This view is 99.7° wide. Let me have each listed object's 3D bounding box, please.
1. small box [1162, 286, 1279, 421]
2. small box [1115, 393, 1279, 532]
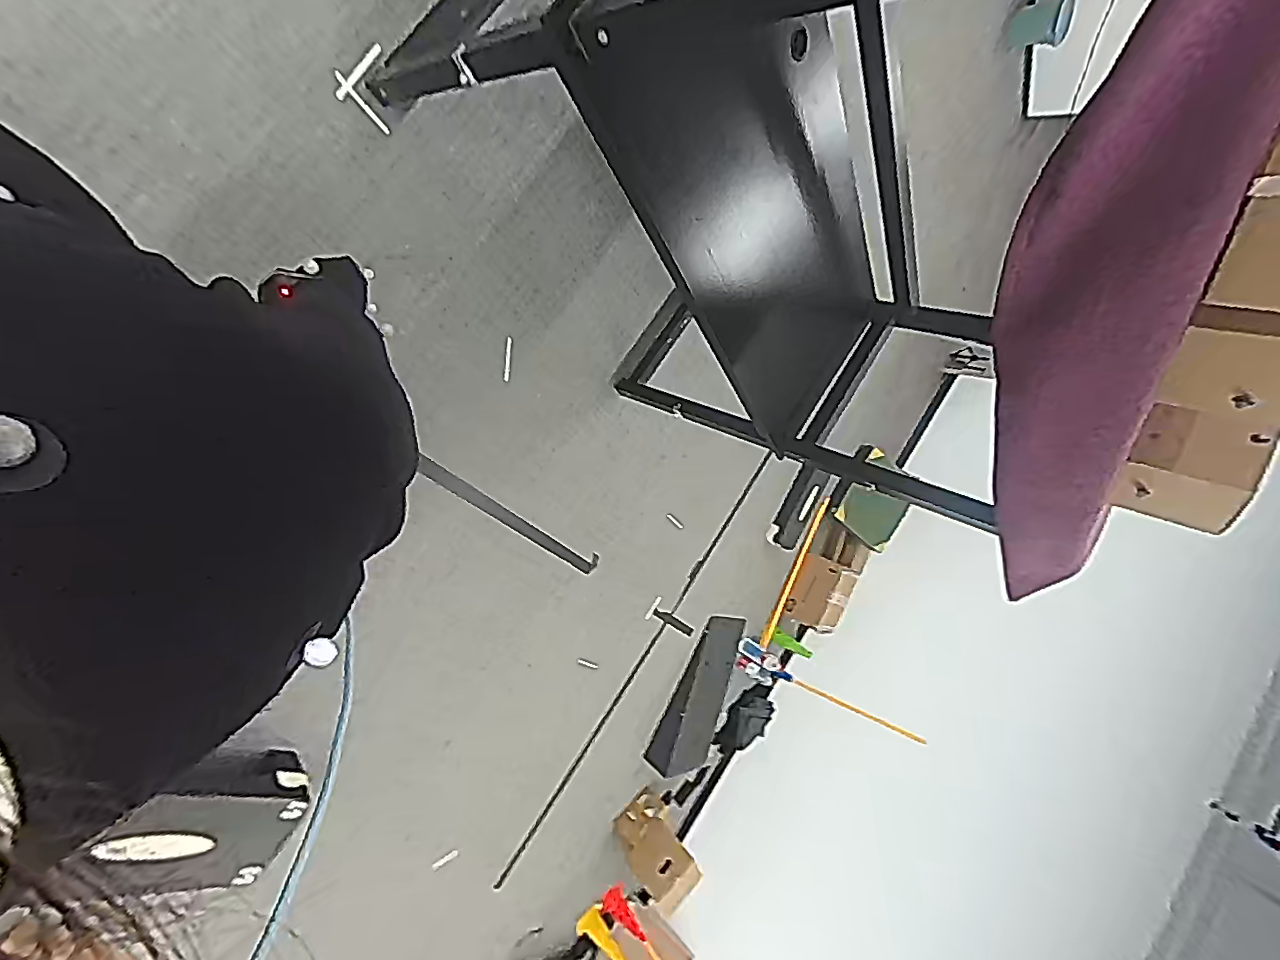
[{"bbox_3d":[0.844,-0.203,0.719,0.168,0.176,0.179,-57,140,-10],"label":"small box"},{"bbox_3d":[1.010,-0.037,0.986,0.168,0.176,0.179,-56,140,-11],"label":"small box"}]
